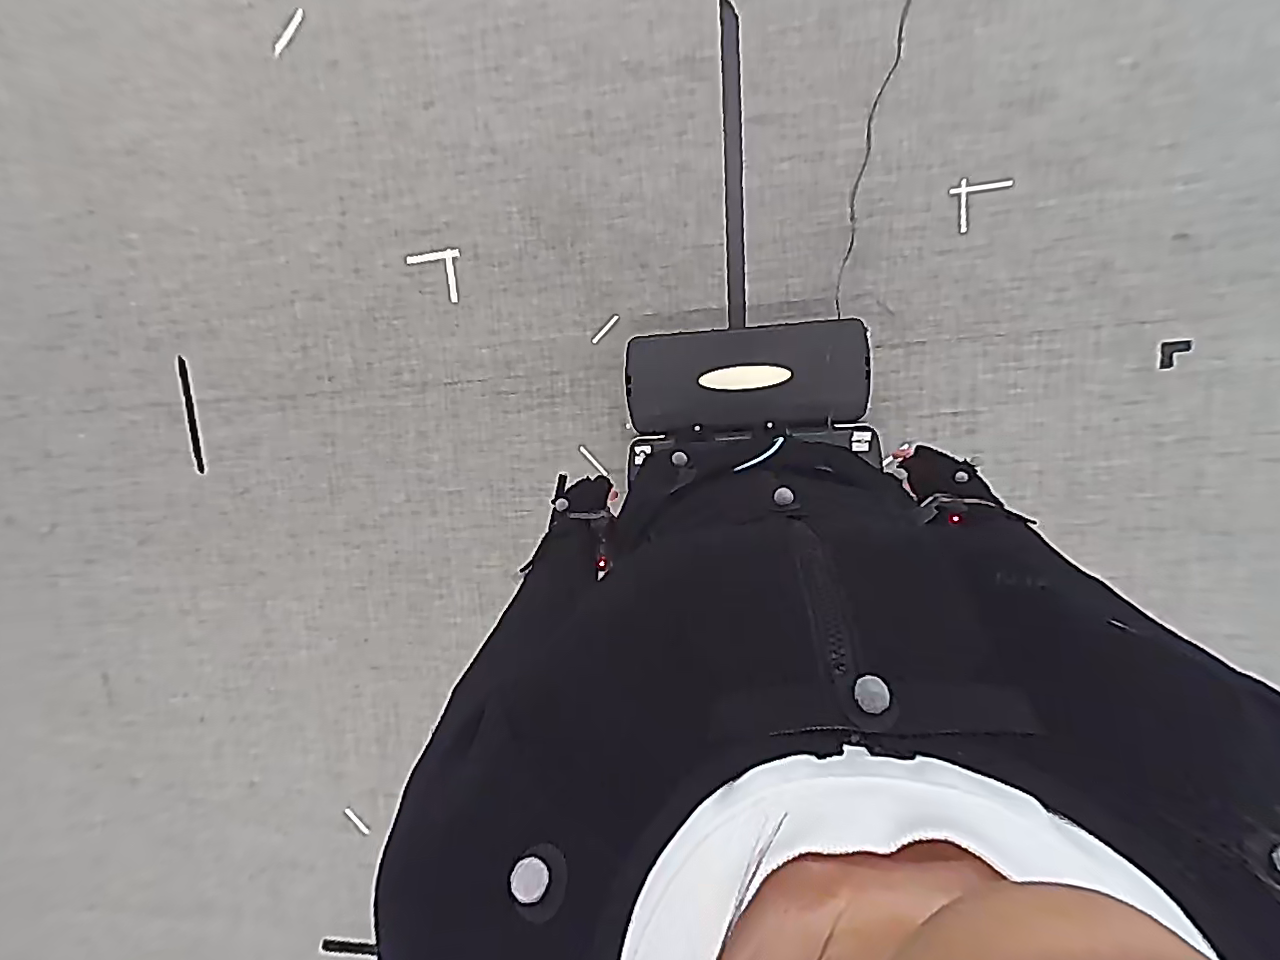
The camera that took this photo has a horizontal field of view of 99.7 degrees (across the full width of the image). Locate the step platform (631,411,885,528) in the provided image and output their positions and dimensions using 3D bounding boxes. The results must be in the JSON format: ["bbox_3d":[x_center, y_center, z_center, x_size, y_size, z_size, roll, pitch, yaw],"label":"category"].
[{"bbox_3d":[0.315,-0.028,1.516,0.684,0.204,0.286,-4,96,9],"label":"step platform"}]
